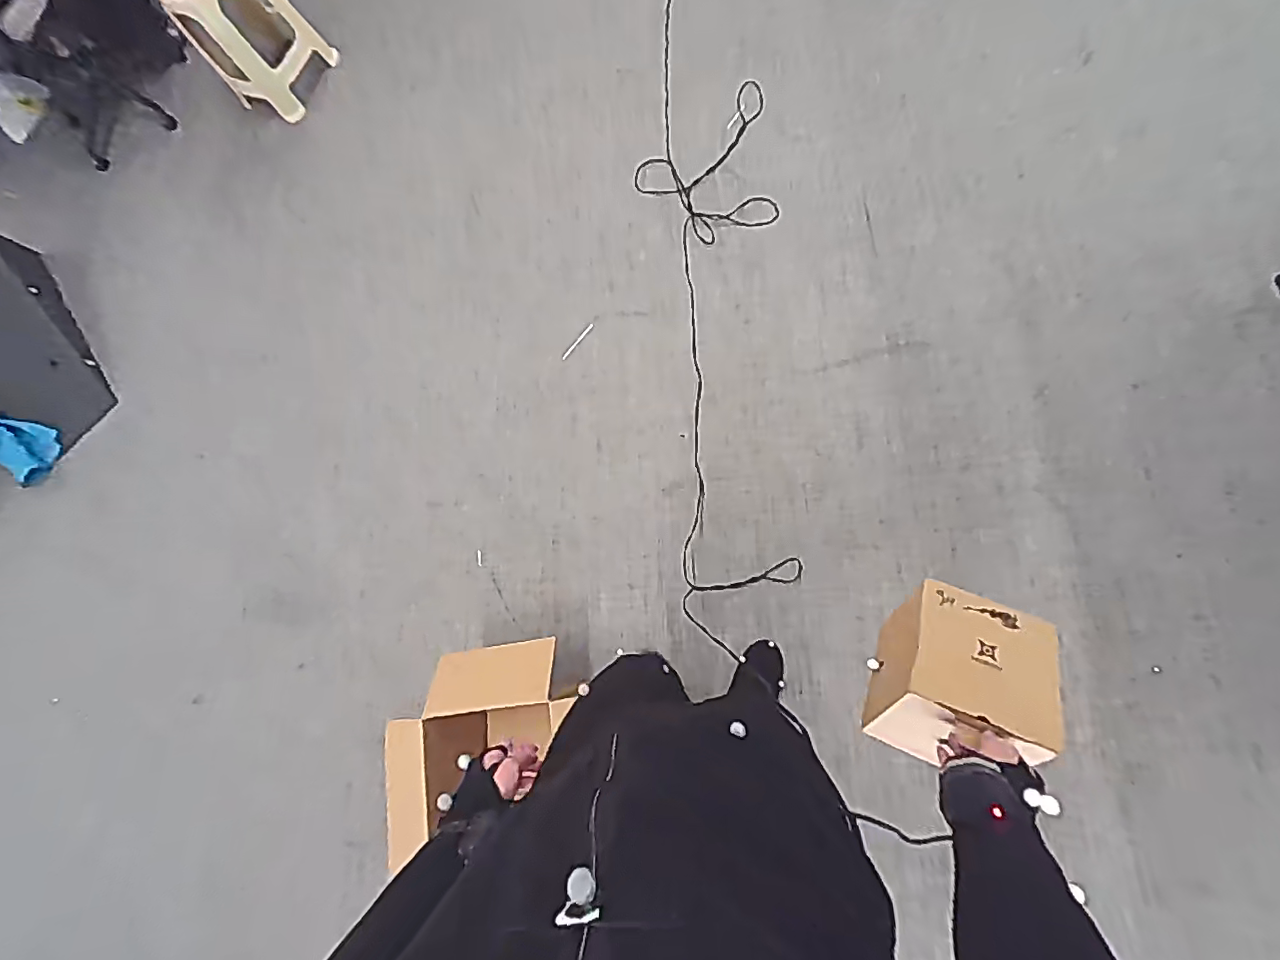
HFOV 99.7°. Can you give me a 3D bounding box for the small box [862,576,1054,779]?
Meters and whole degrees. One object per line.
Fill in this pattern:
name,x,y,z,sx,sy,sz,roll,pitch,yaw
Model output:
small box,0.417,0.268,0.727,0.168,0.176,0.179,21,52,15
